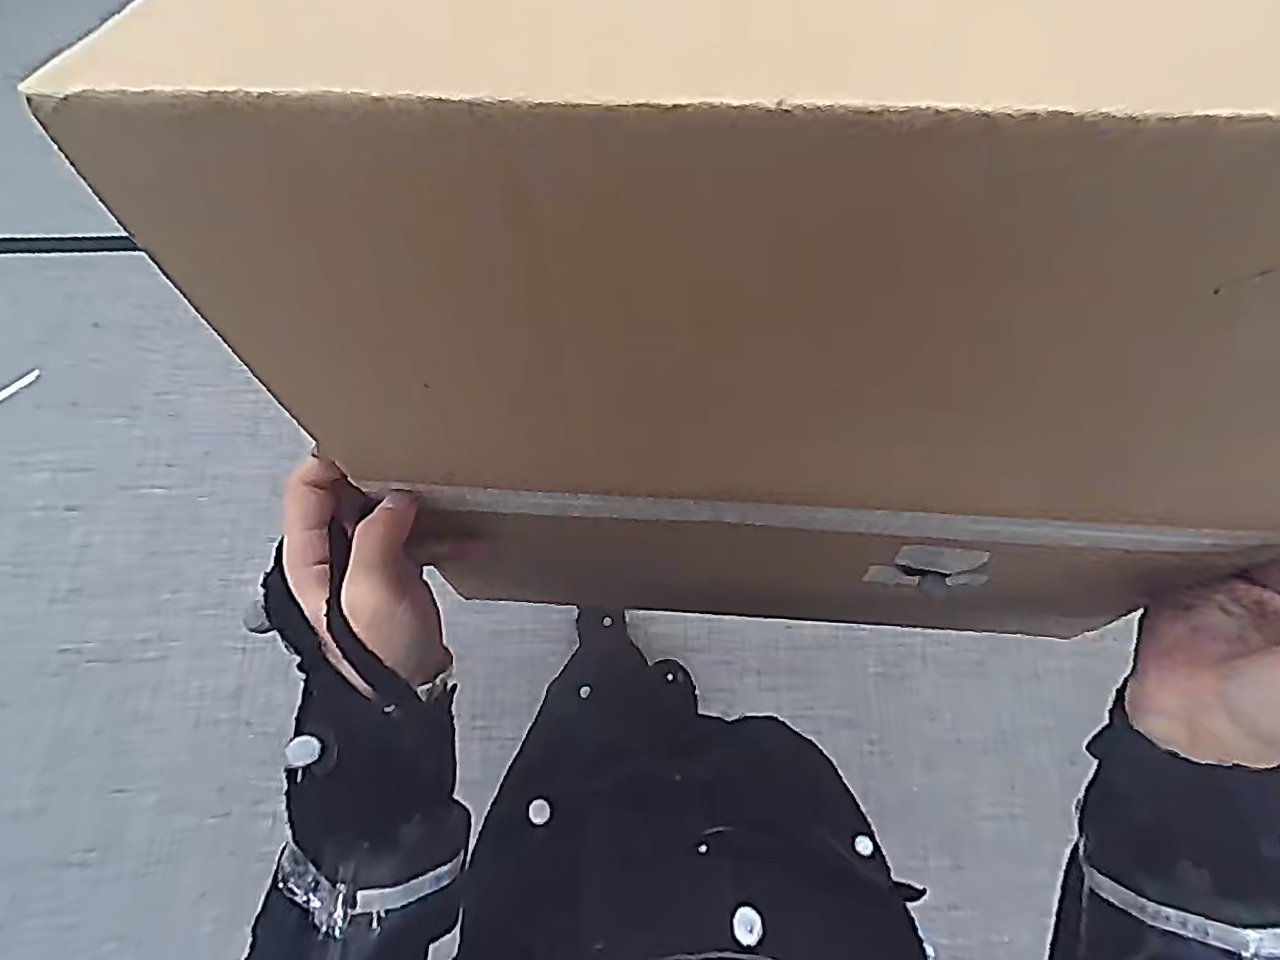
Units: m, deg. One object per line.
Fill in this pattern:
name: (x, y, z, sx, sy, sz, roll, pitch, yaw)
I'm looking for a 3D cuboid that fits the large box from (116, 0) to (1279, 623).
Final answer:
large box: (0.079, -0.117, 0.321, 0.408, 0.320, 0.320, 2, 60, 3)
